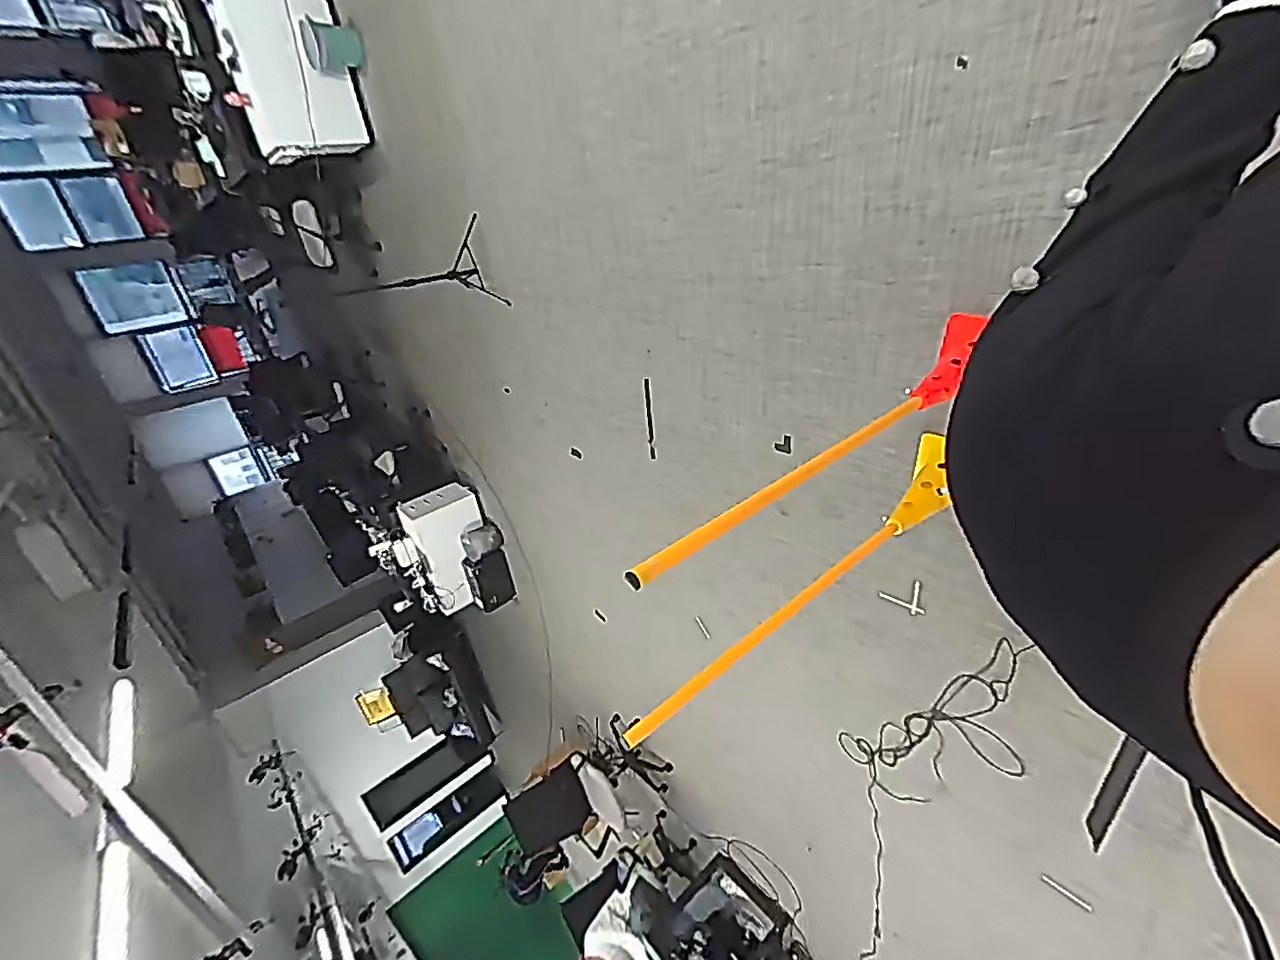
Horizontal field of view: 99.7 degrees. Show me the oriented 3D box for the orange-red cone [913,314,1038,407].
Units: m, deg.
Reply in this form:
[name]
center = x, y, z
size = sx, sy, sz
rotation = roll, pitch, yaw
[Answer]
[orange-red cone]
center = 0.726, -0.239, 1.248
size = 0.198, 0.360, 0.199
rotation = 30, 133, 39
